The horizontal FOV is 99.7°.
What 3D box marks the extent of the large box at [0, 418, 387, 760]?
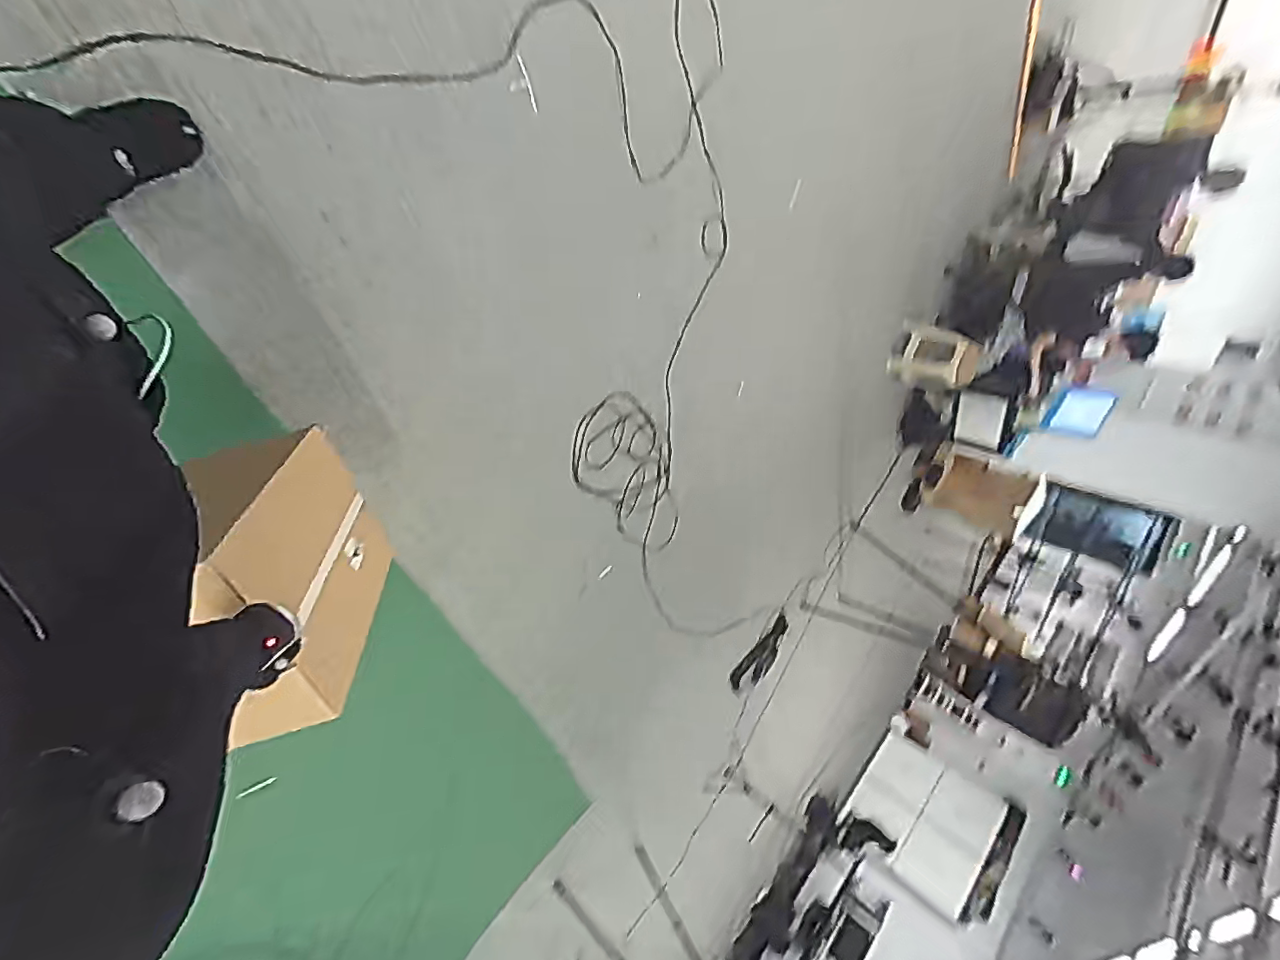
[{"bbox_3d":[-0.667,0.151,0.882,0.320,0.408,0.320,-16,121,-4],"label":"large box"}]
